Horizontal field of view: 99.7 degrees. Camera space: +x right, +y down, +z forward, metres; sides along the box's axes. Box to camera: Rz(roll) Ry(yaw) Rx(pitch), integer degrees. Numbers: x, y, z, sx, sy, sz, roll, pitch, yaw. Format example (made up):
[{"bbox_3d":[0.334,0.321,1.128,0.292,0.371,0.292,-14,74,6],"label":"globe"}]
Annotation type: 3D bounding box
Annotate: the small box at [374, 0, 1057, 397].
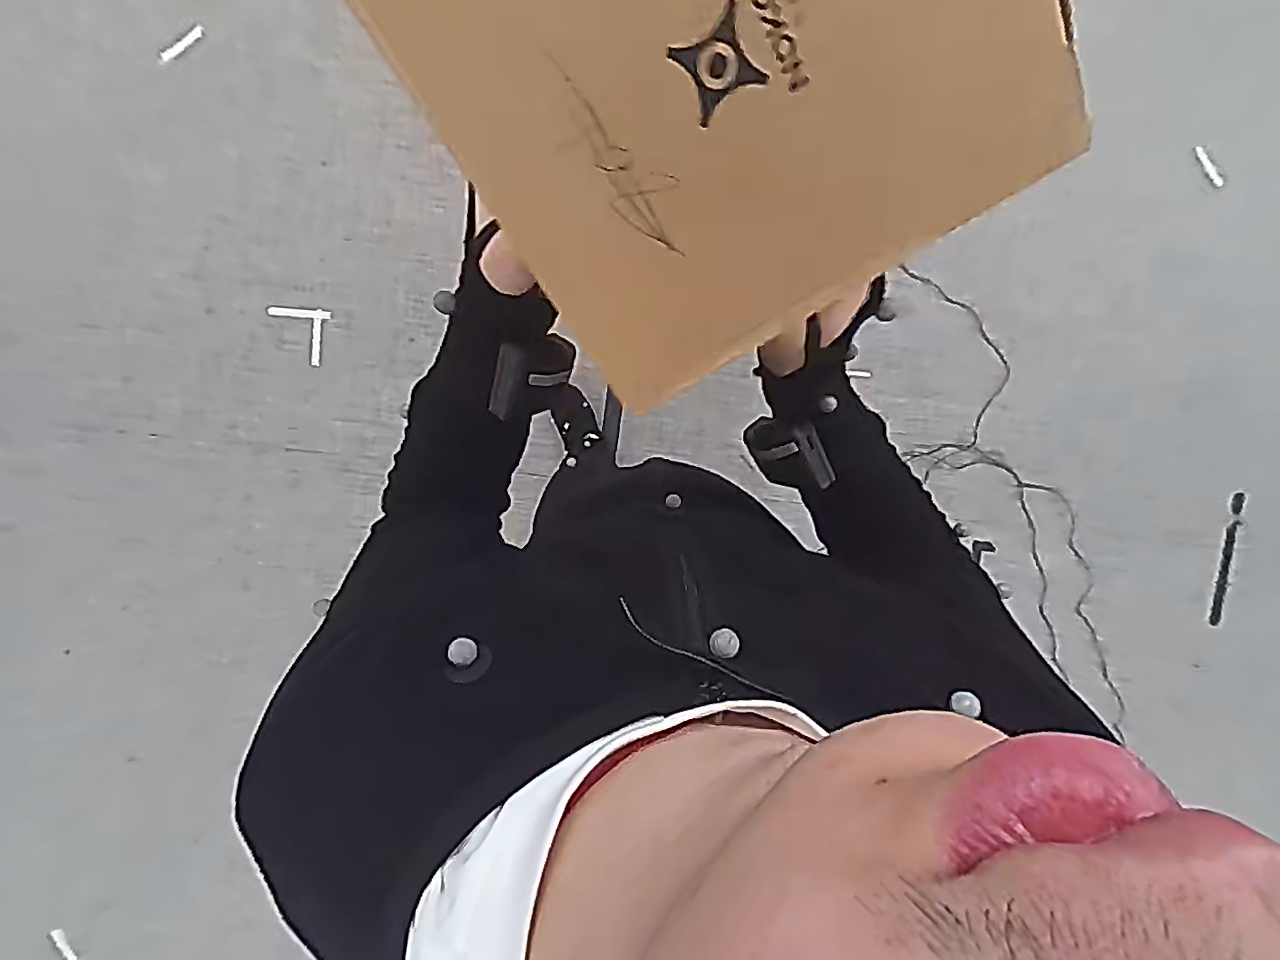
[{"bbox_3d":[0.029,-0.172,0.245,0.179,0.176,0.168,-29,113,16],"label":"small box"}]
